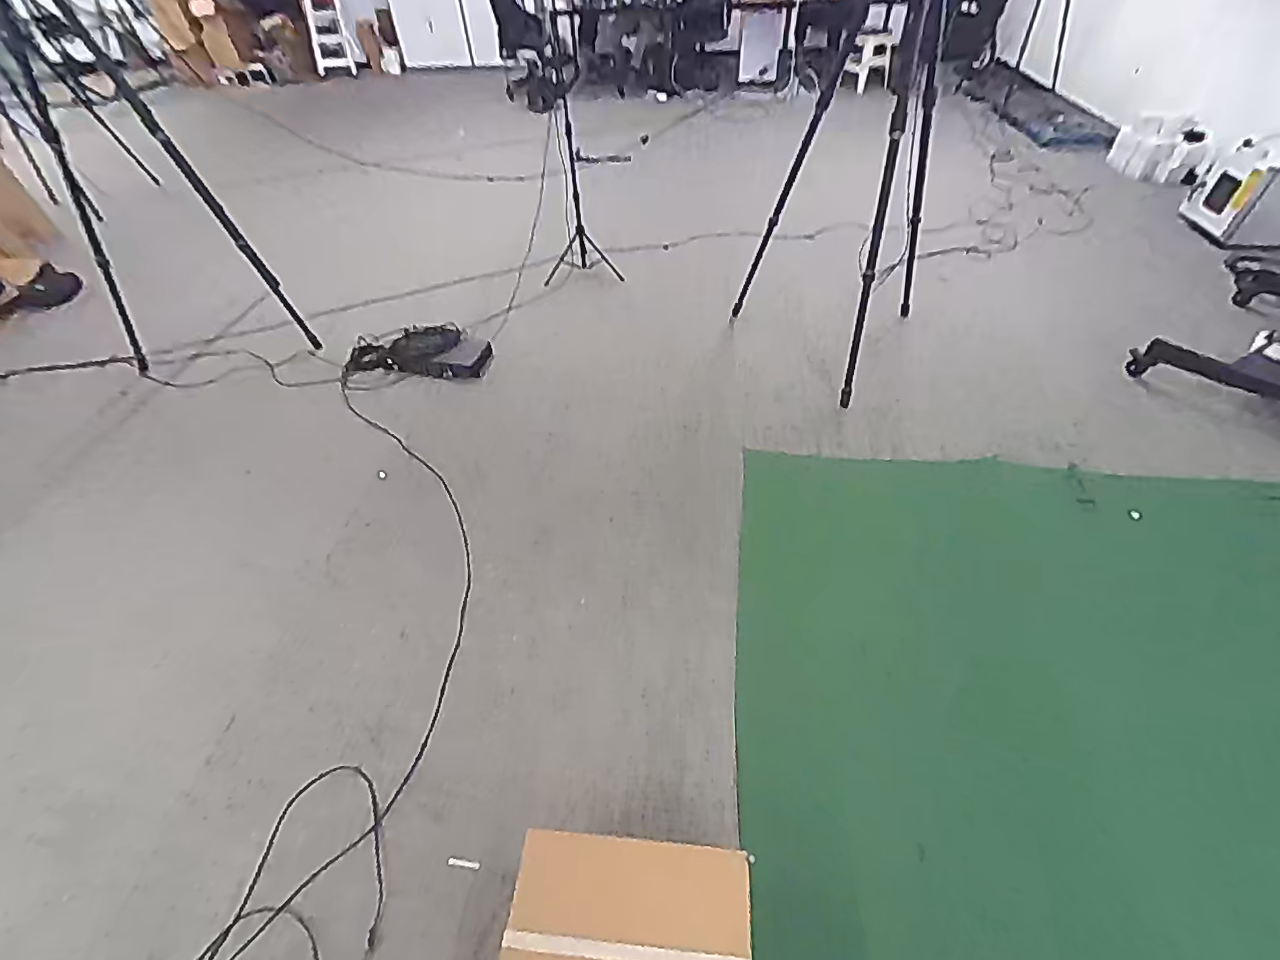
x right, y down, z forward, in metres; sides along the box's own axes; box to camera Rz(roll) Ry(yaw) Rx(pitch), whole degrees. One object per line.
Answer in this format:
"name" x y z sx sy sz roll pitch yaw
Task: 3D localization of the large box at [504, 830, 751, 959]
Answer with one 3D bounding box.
"large box" -0.019 0.864 0.980 0.408 0.320 0.320 3 47 4
